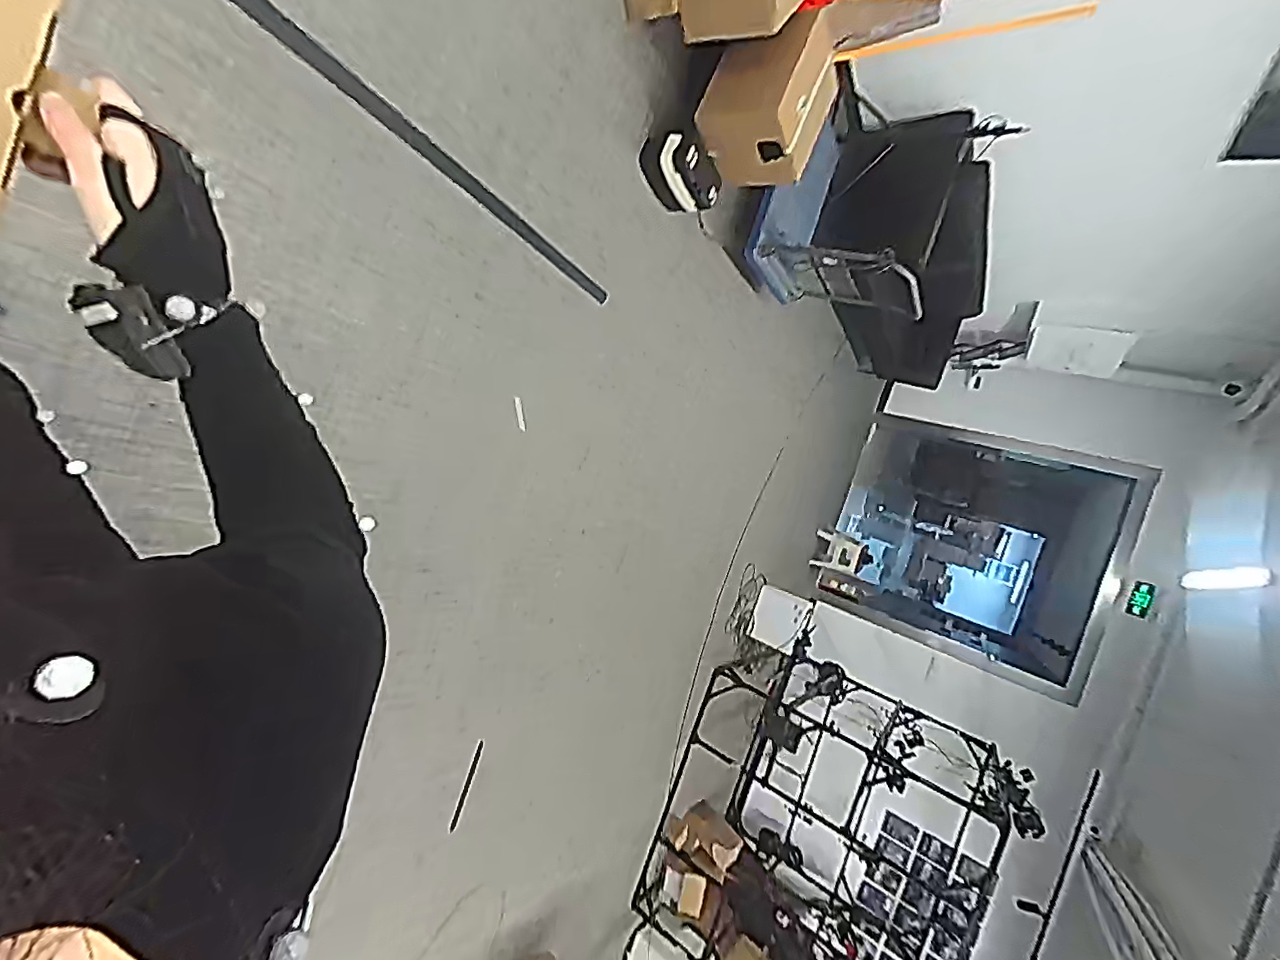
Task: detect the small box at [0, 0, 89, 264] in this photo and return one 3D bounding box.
[{"bbox_3d":[-0.436,-0.243,0.266,0.168,0.176,0.179,-61,152,9],"label":"small box"}]
